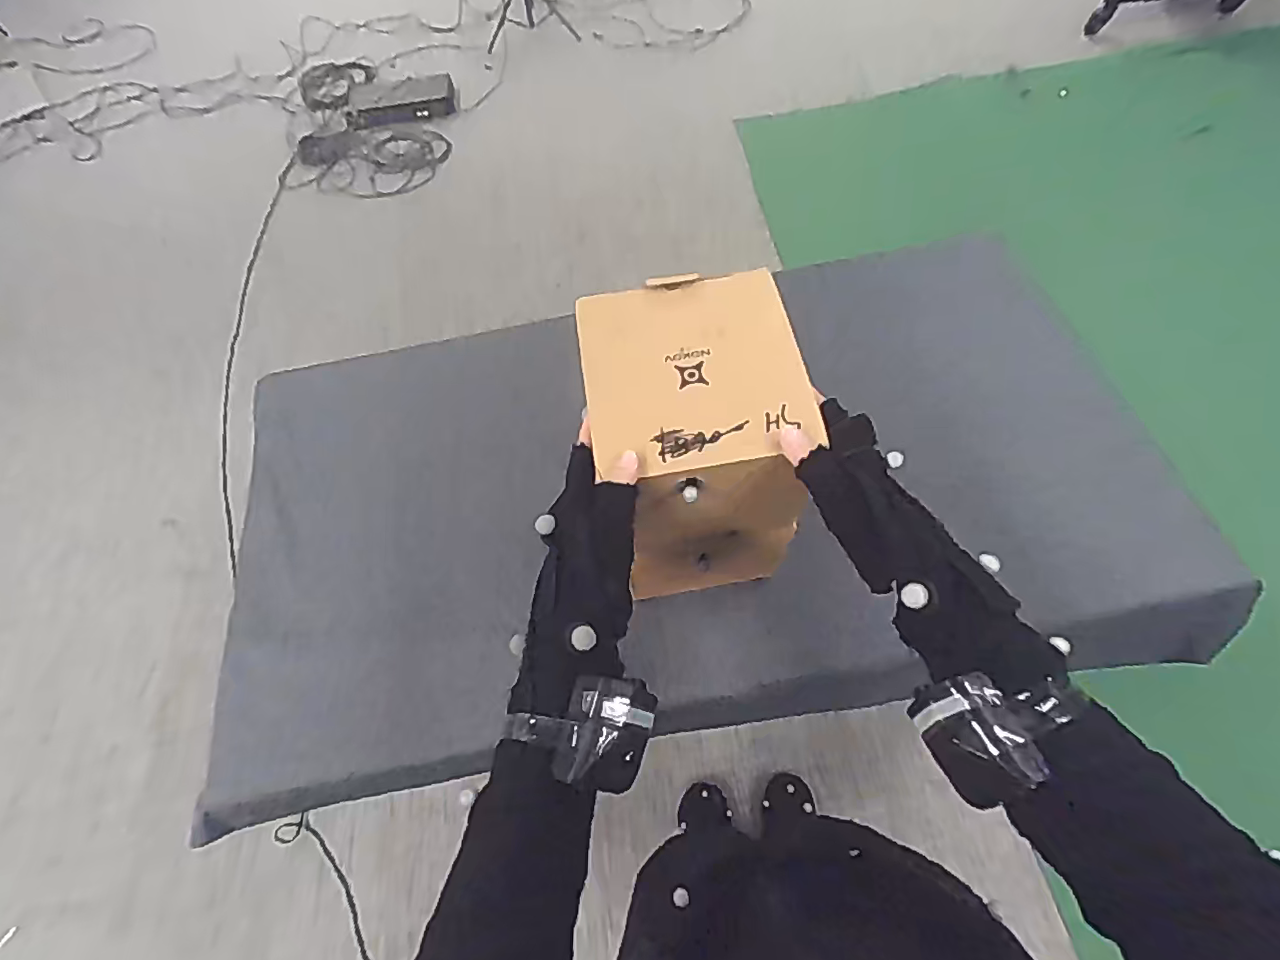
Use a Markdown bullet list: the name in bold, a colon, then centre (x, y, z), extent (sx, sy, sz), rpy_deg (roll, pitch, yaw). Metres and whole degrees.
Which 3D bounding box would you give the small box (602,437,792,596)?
- **small box**: centre (0.060, 0.028, 0.637), extent (0.179, 0.176, 0.168), rpy_deg (-10, 63, -1)

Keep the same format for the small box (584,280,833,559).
- **small box**: centre (0.049, -0.047, 0.495), extent (0.168, 0.176, 0.179), rpy_deg (-11, 64, -2)
